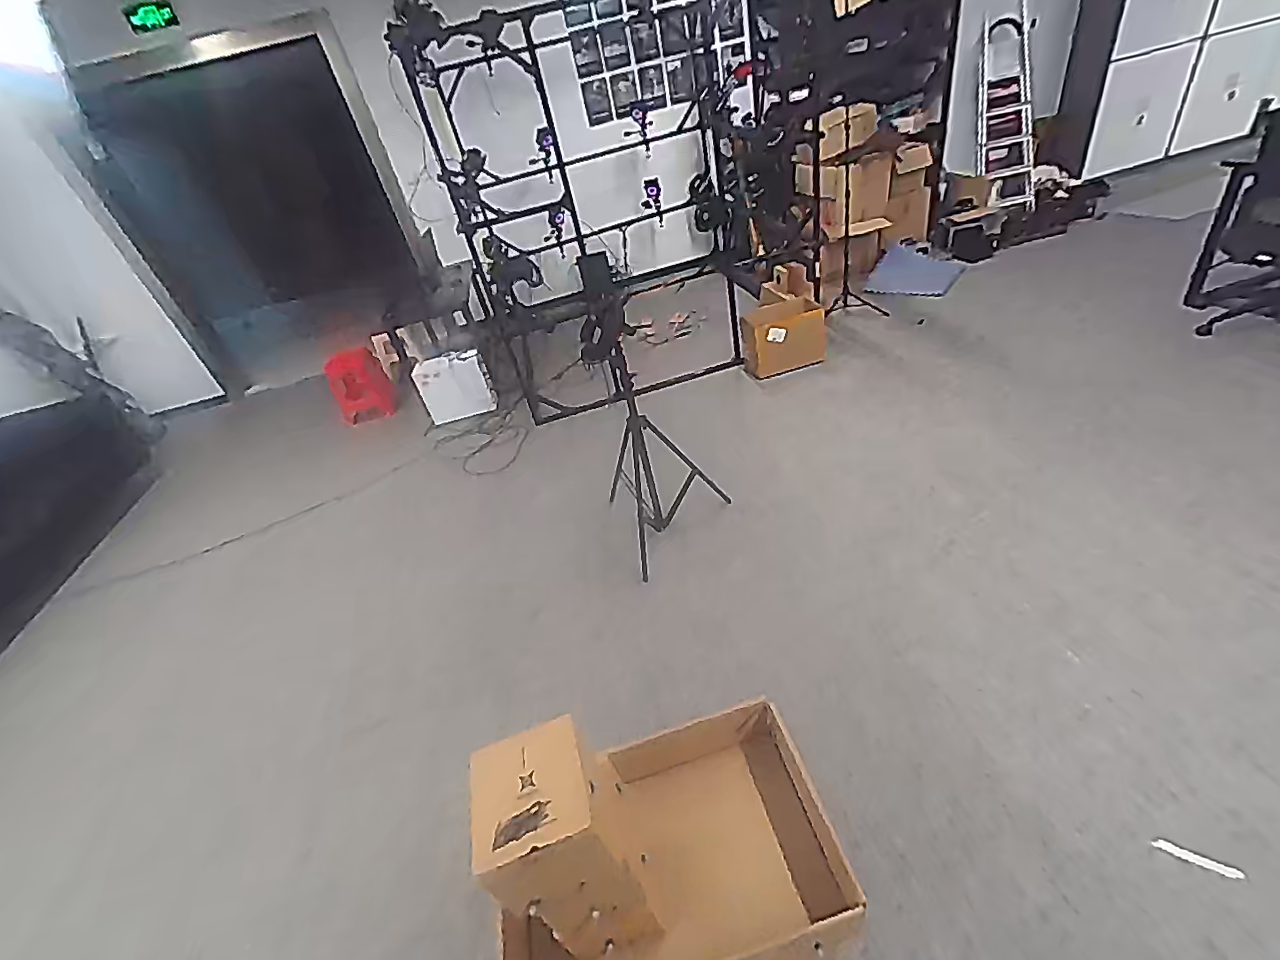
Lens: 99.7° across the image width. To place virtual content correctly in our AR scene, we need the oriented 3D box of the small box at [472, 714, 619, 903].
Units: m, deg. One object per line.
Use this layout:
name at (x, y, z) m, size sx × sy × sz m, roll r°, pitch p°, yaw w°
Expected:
small box at (-0.141, 0.501, 0.818) m, size 0.168 × 0.176 × 0.179 m, roll -19°, pitch 36°, yaw -6°

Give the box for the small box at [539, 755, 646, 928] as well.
small box at (-0.098, 0.617, 0.928) m, size 0.168 × 0.176 × 0.179 m, roll -18°, pitch 37°, yaw -4°

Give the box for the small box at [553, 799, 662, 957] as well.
small box at (-0.068, 0.749, 1.021) m, size 0.168 × 0.176 × 0.179 m, roll -18°, pitch 36°, yaw -3°
